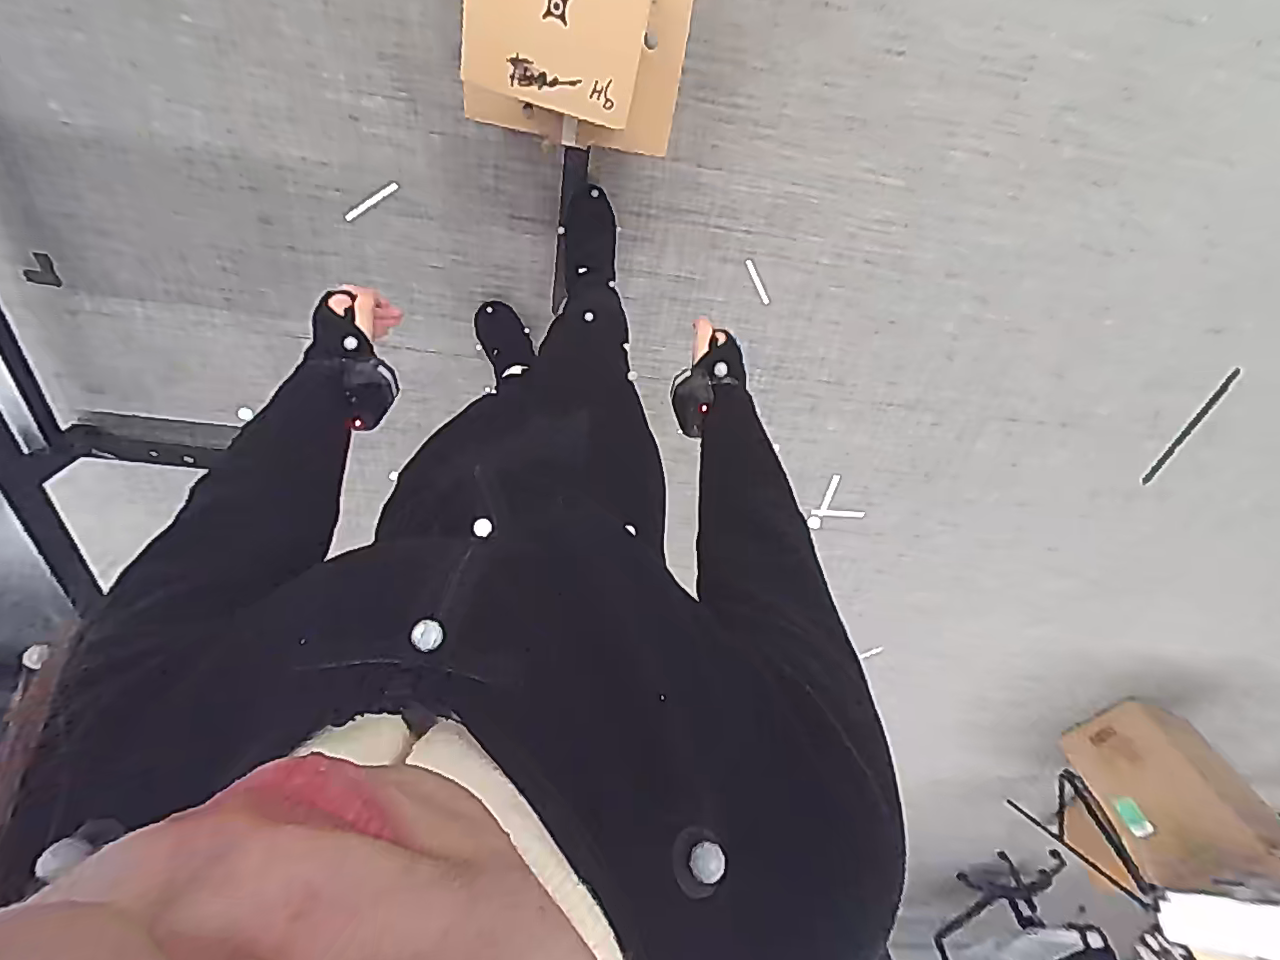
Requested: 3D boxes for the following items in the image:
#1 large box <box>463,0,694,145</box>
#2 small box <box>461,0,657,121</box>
[{"bbox_3d":[-0.083,-0.779,0.831,0.320,0.320,0.408,6,125,-9],"label":"large box"},{"bbox_3d":[-0.070,-0.485,0.540,0.168,0.176,0.179,12,124,-10],"label":"small box"}]
